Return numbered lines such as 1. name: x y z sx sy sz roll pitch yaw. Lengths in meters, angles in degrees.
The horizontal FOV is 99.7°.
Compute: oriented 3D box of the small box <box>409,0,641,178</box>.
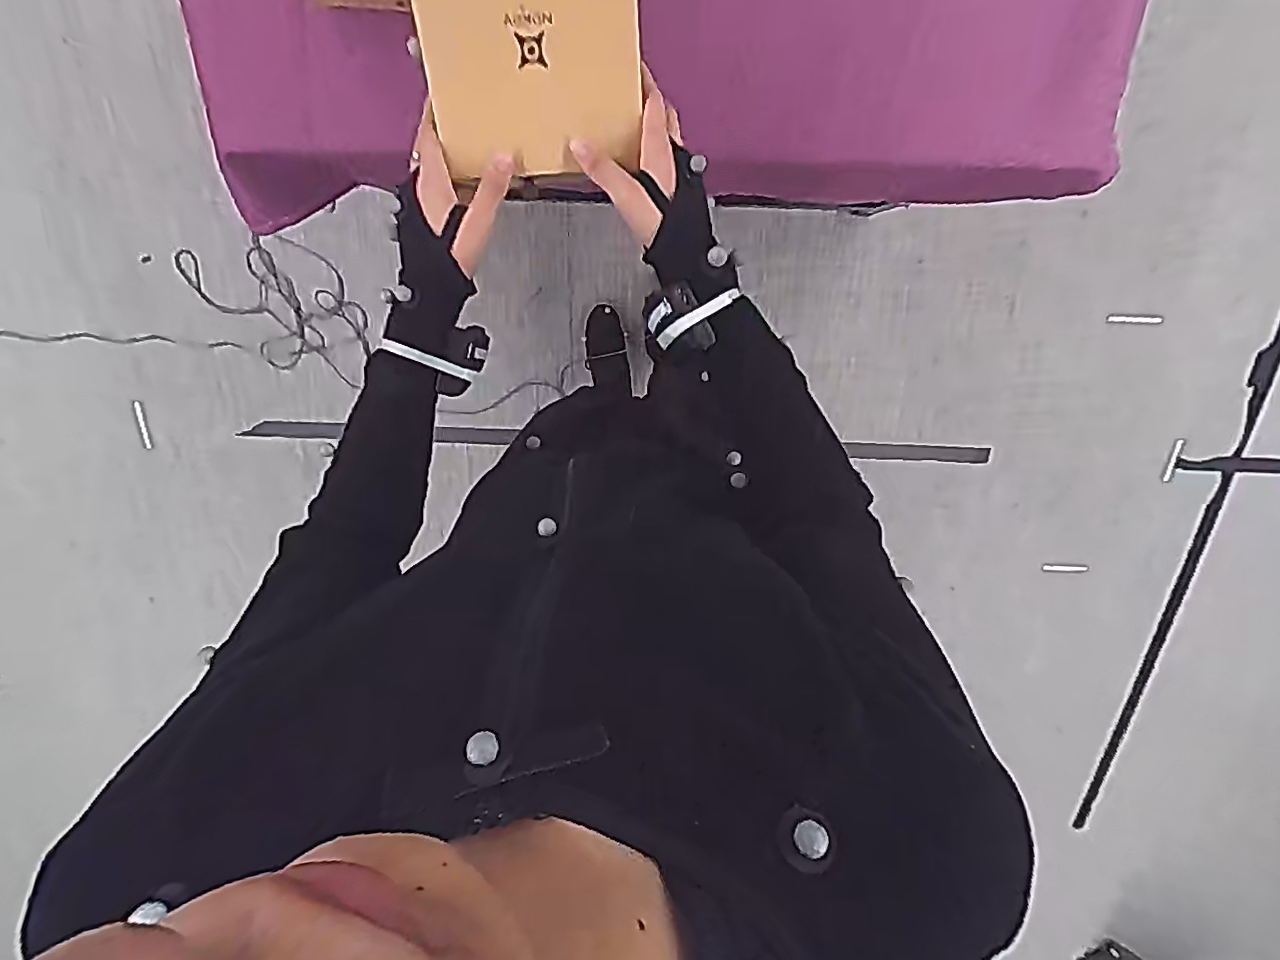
1. small box: -0.090 -0.370 0.474 0.168 0.176 0.179 -6 116 -2
